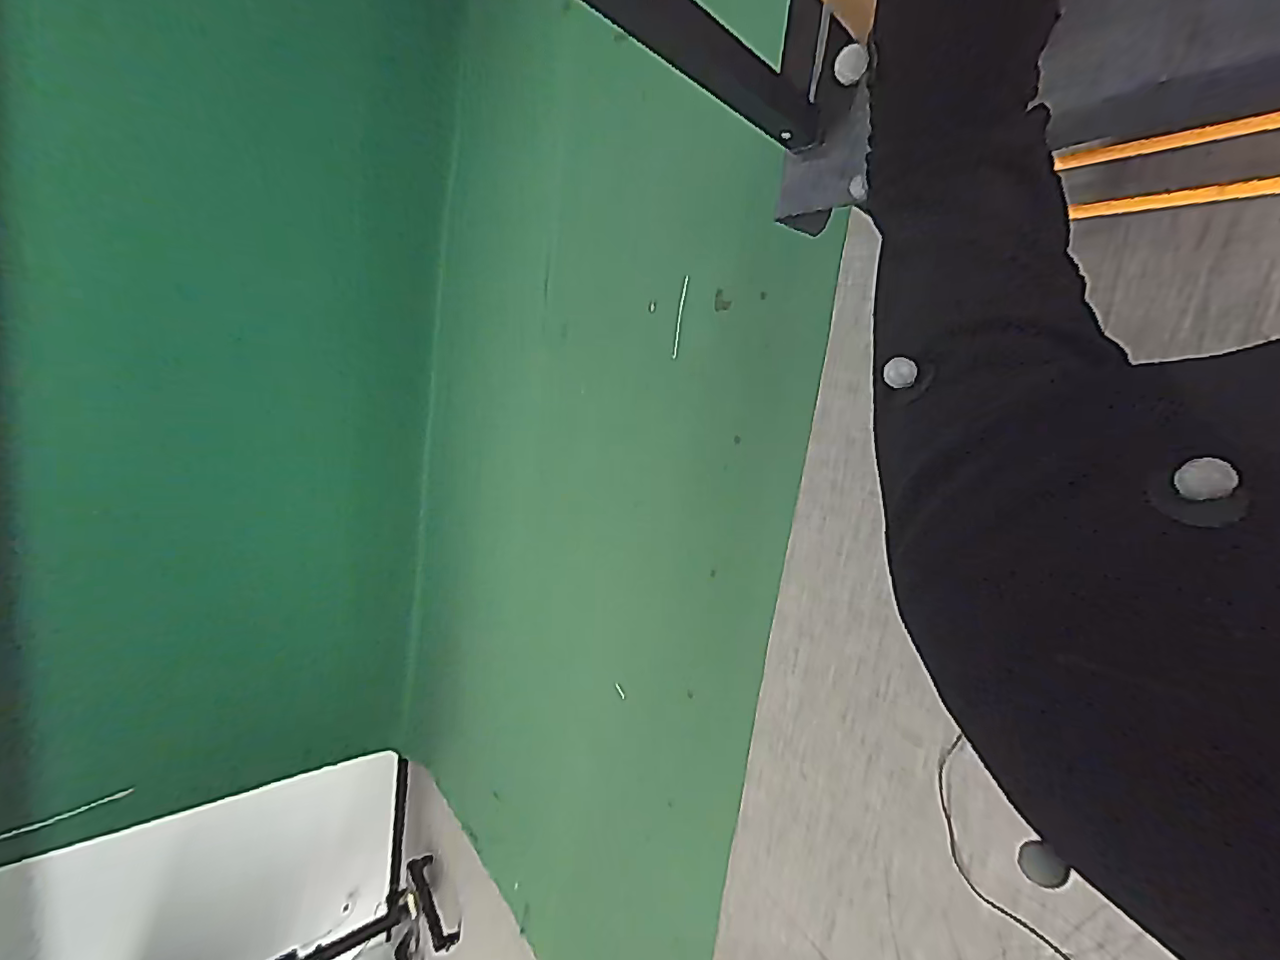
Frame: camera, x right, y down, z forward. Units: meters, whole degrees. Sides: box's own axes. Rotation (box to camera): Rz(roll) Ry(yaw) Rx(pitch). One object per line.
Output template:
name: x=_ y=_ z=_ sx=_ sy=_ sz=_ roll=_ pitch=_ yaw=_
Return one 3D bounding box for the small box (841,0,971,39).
small box: x=0.348 y=-0.734 z=0.697 sx=0.168 sy=0.176 sz=0.179 roll=16 pitch=102 yaw=47
